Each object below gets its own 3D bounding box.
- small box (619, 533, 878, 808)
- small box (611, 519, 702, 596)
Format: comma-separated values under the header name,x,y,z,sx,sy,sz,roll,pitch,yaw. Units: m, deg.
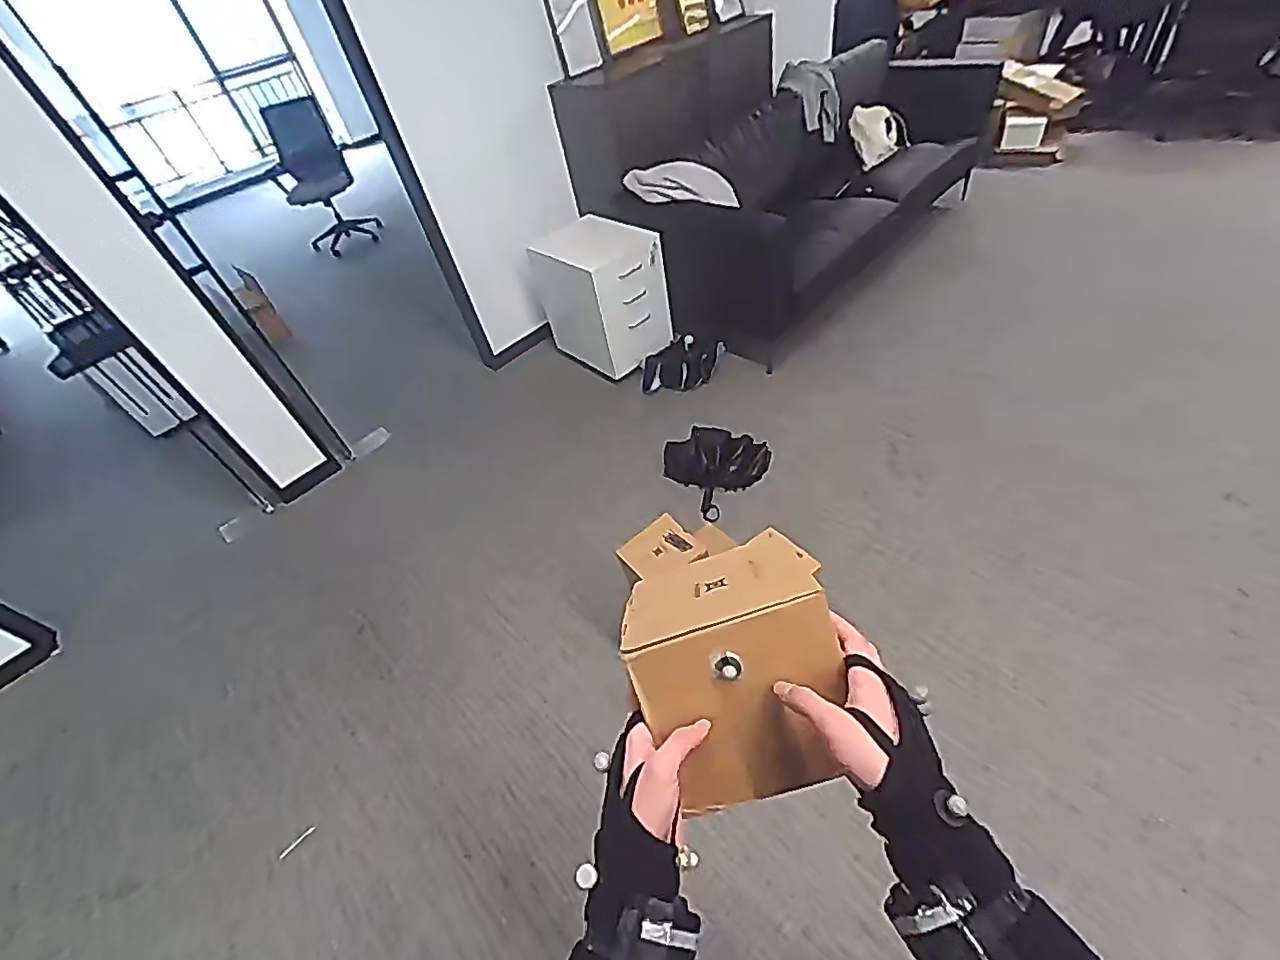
name,x,y,z,sx,sy,sz,roll,pitch,yaw
small box,0.094,0.171,0.513,0.179,0.176,0.168,-18,8,5
small box,0.052,0.243,1.402,0.179,0.176,0.168,-35,48,-18
